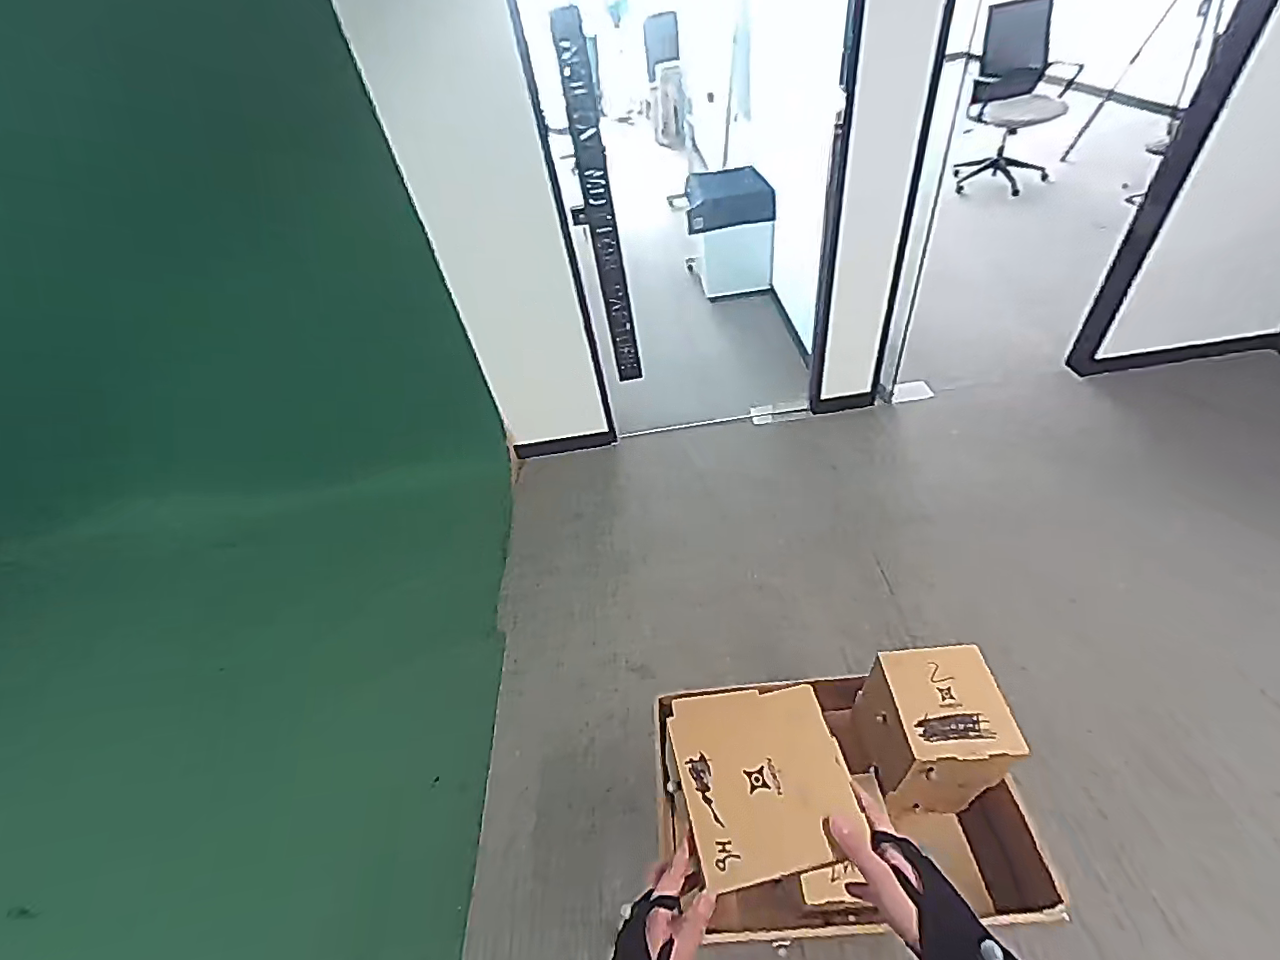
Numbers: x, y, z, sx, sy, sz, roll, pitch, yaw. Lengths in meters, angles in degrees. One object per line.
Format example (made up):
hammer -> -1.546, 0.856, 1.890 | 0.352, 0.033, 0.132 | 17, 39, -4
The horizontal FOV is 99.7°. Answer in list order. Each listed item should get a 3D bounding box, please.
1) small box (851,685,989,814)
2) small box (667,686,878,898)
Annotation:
small box -> 0.514, 0.512, 1.026 | 0.168, 0.176, 0.179 | -6, 46, 5
small box -> 0.134, 0.362, 0.626 | 0.179, 0.176, 0.168 | -10, 50, -7
